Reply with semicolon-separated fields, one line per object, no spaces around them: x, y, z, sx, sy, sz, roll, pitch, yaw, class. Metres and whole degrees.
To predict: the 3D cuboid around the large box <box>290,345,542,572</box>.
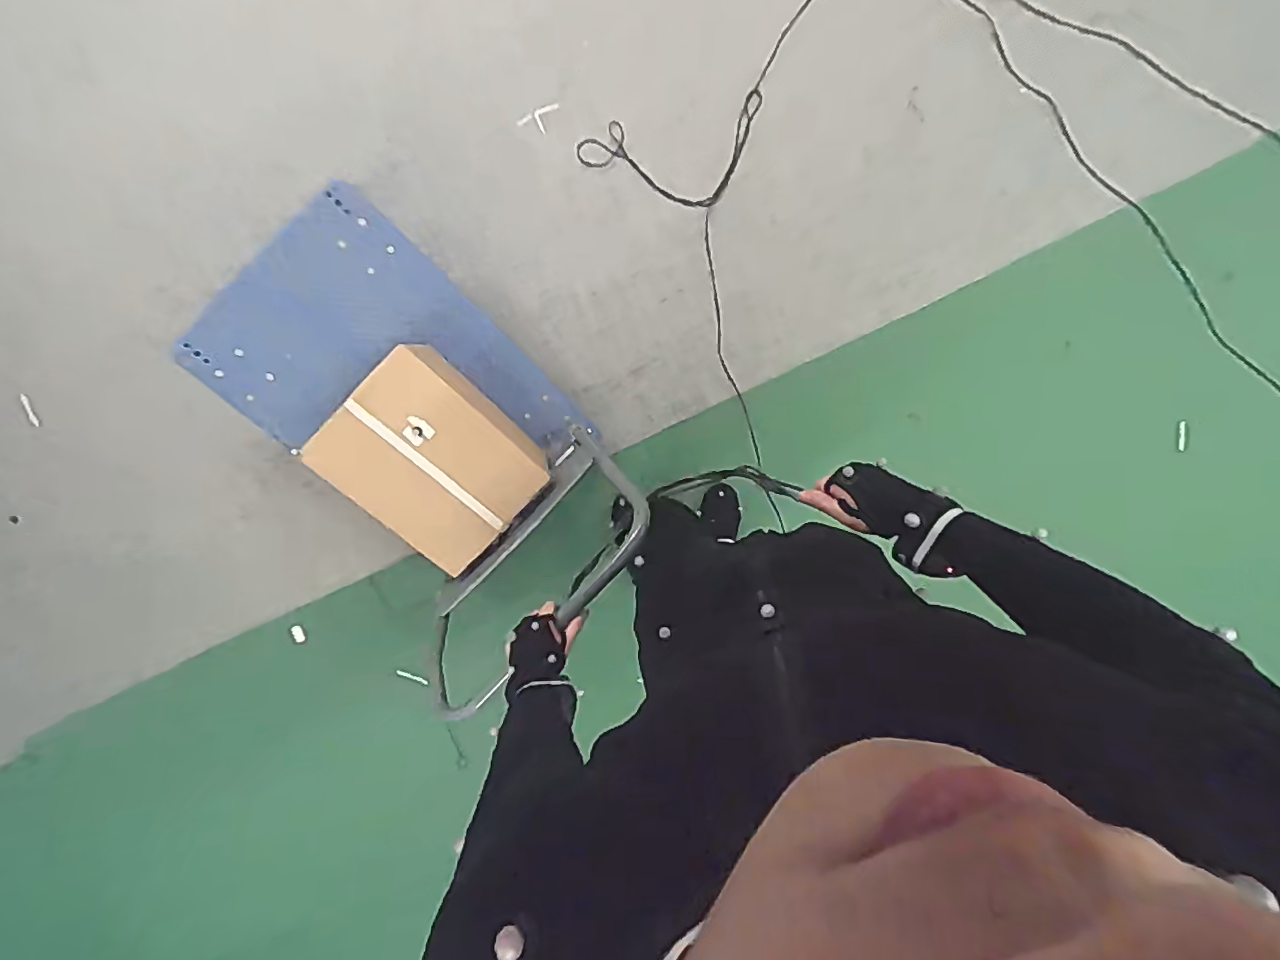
-0.479;-0.064;1.260;0.408;0.320;0.320;43;91;-18;large box
